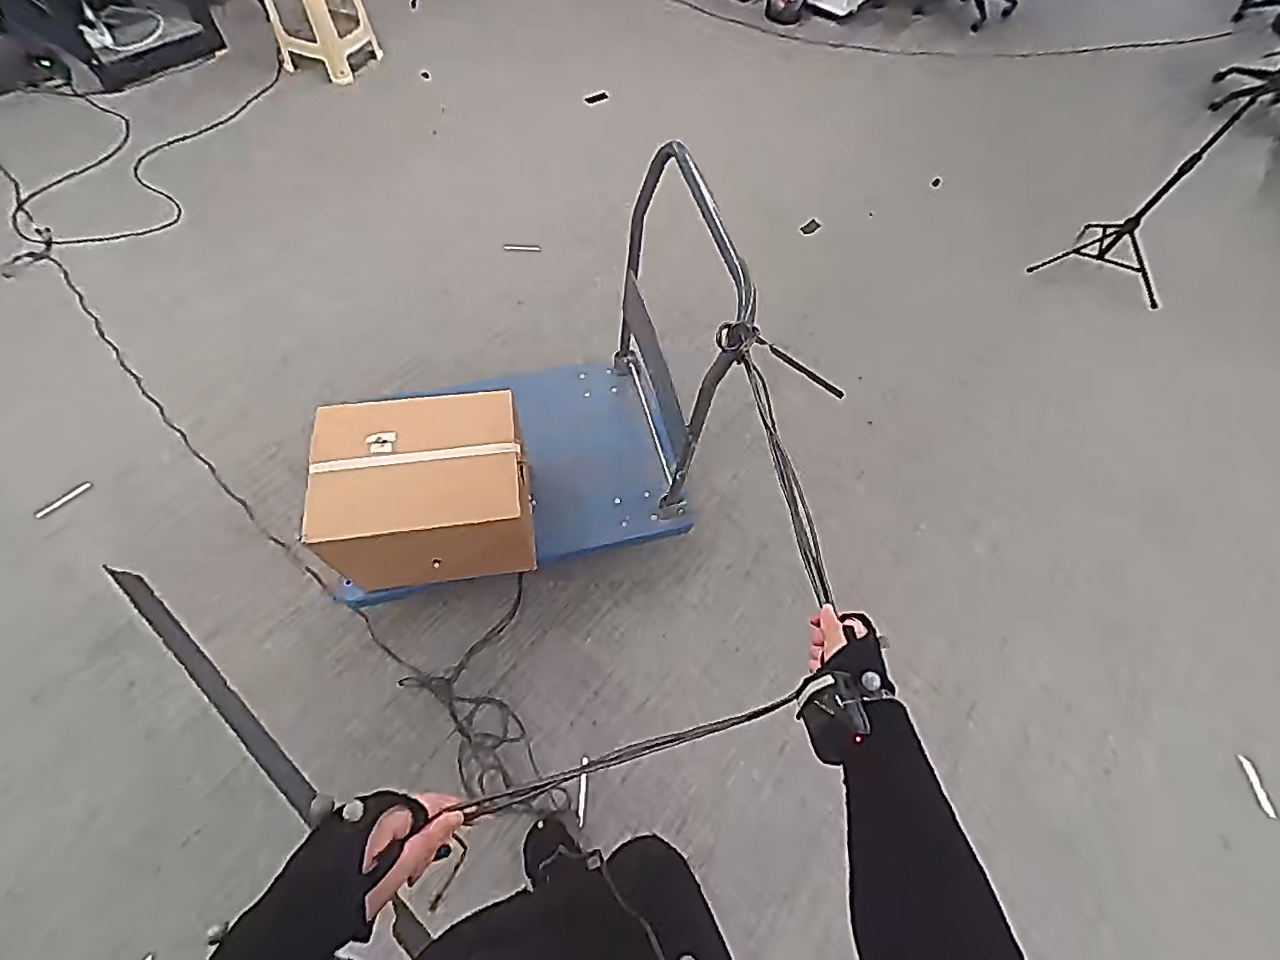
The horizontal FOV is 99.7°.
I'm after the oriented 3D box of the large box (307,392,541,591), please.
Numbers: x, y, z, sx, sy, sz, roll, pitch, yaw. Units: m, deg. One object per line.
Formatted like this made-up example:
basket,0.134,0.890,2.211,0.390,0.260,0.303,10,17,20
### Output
large box,-0.452,0.036,1.217,0.408,0.320,0.320,-7,61,-7
